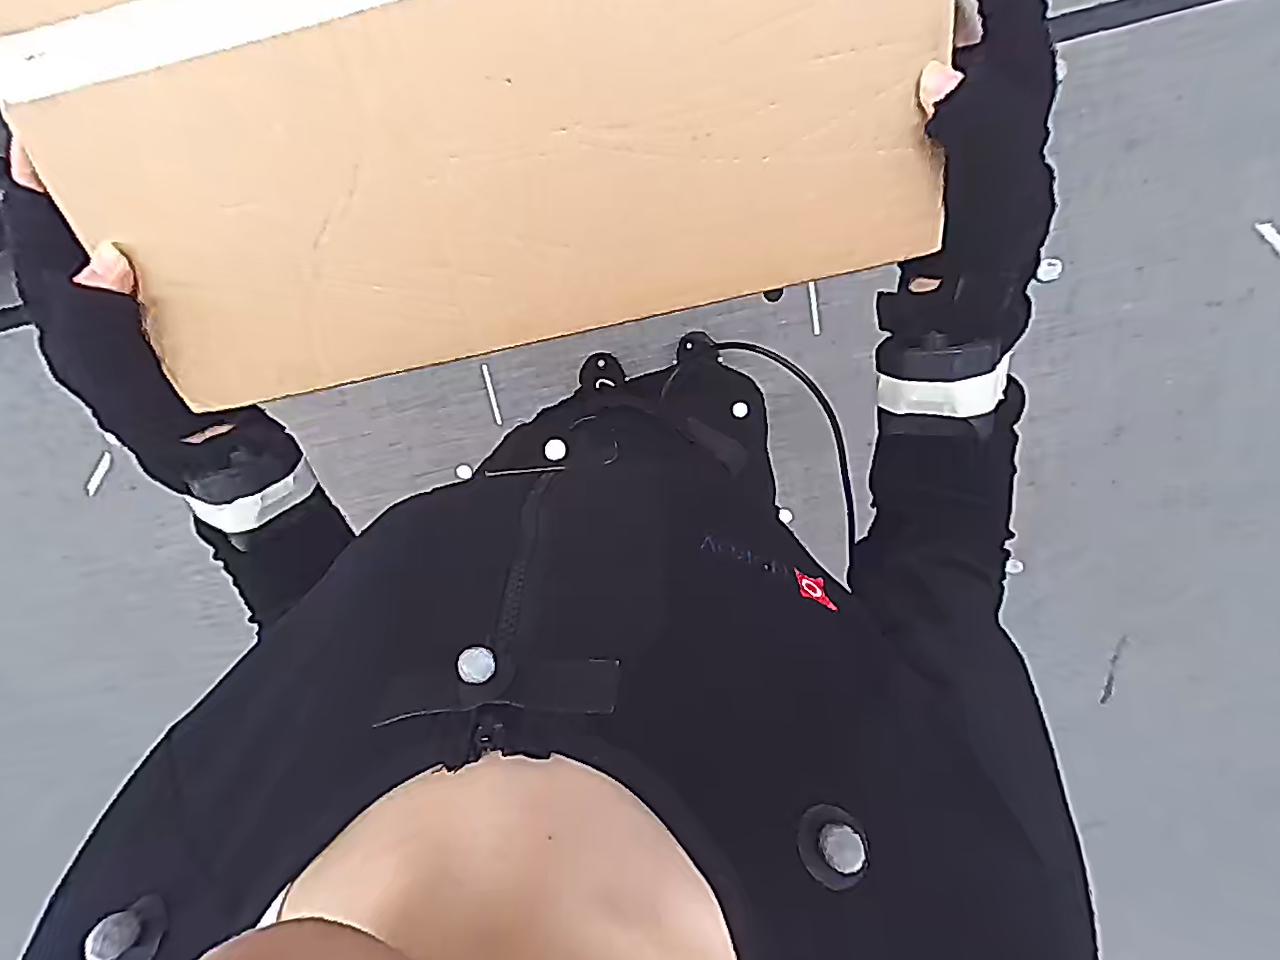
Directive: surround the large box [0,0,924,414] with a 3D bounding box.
[{"bbox_3d":[-0.082,-0.279,0.359,0.408,0.320,0.320,-11,116,5],"label":"large box"}]
